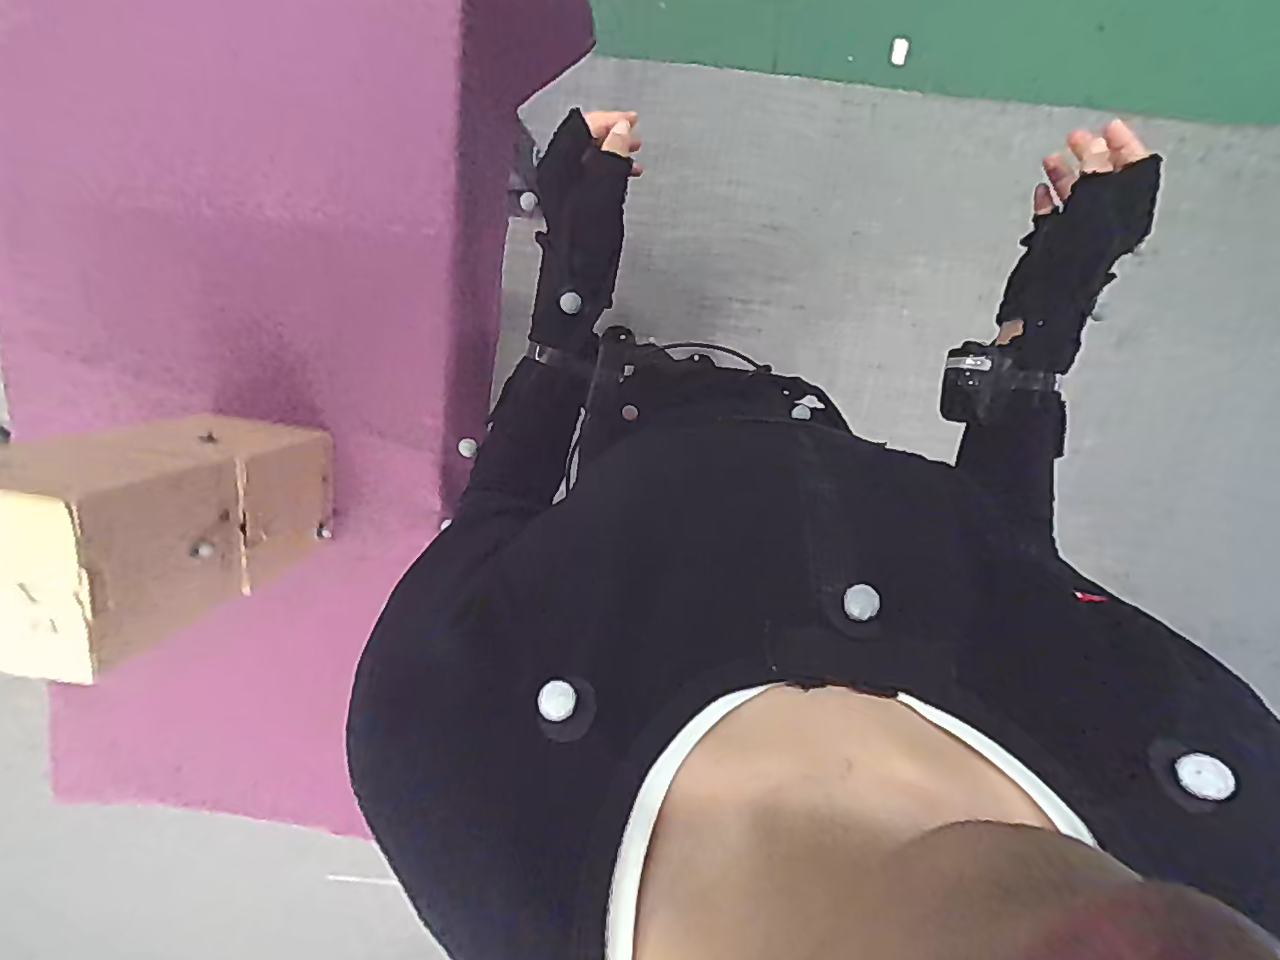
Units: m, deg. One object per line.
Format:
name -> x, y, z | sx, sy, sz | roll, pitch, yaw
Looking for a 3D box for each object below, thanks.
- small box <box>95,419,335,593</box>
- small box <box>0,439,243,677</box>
small box -> -0.514, 0.022, 0.682 | 0.179, 0.176, 0.168 | 9, 103, 1
small box -> -0.530, 0.059, 0.522 | 0.179, 0.176, 0.168 | 8, 104, 0
